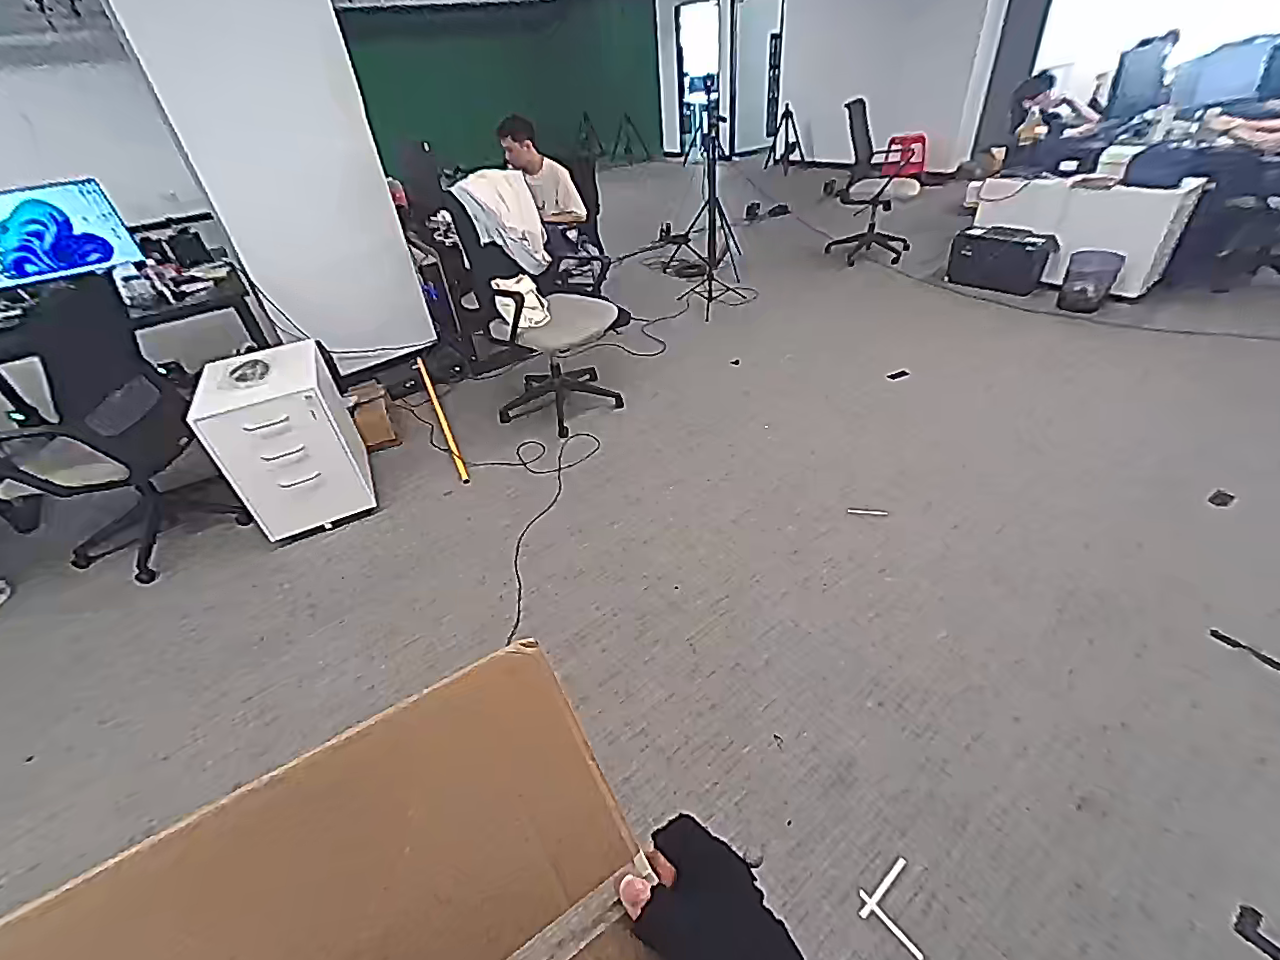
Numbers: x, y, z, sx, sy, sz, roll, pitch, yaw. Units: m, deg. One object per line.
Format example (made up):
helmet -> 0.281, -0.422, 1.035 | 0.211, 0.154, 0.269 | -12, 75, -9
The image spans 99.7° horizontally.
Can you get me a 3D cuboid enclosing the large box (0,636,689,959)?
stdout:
large box -> -0.210, 0.362, 0.390 | 0.408, 0.320, 0.320 | -24, 80, -25
